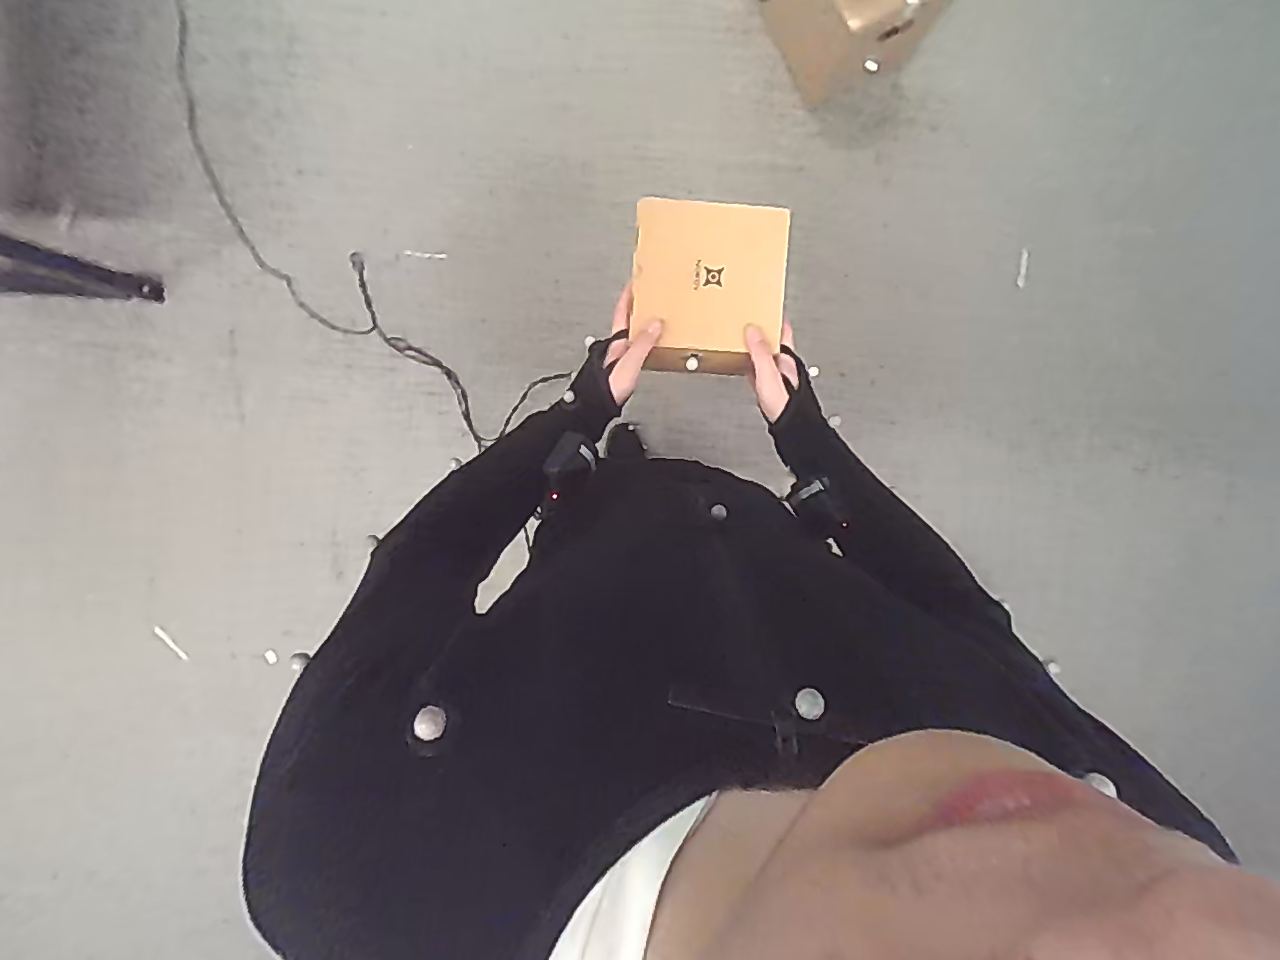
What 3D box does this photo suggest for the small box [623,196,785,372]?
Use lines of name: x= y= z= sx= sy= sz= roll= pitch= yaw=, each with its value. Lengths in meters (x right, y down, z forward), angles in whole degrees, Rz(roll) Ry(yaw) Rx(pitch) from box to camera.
small box: x=0.071 y=-0.234 z=0.687 sx=0.179 sy=0.176 sz=0.168 roll=3 pitch=93 yaw=-1
